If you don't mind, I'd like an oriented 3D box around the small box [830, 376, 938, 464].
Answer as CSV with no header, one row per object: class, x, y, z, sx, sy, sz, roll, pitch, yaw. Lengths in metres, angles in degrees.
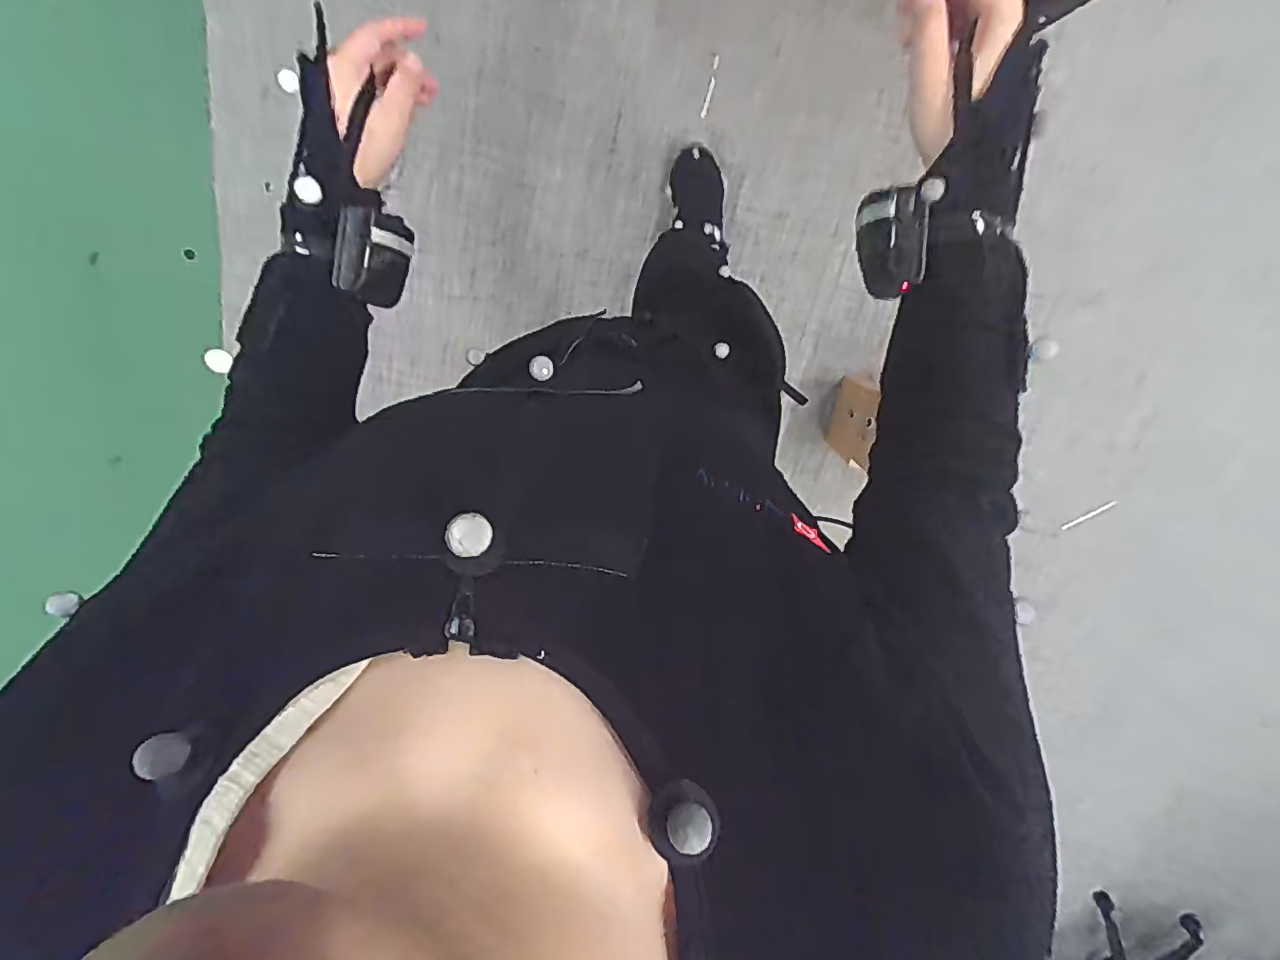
small box,0.559,-0.135,1.251,0.168,0.176,0.179,8,111,-2
